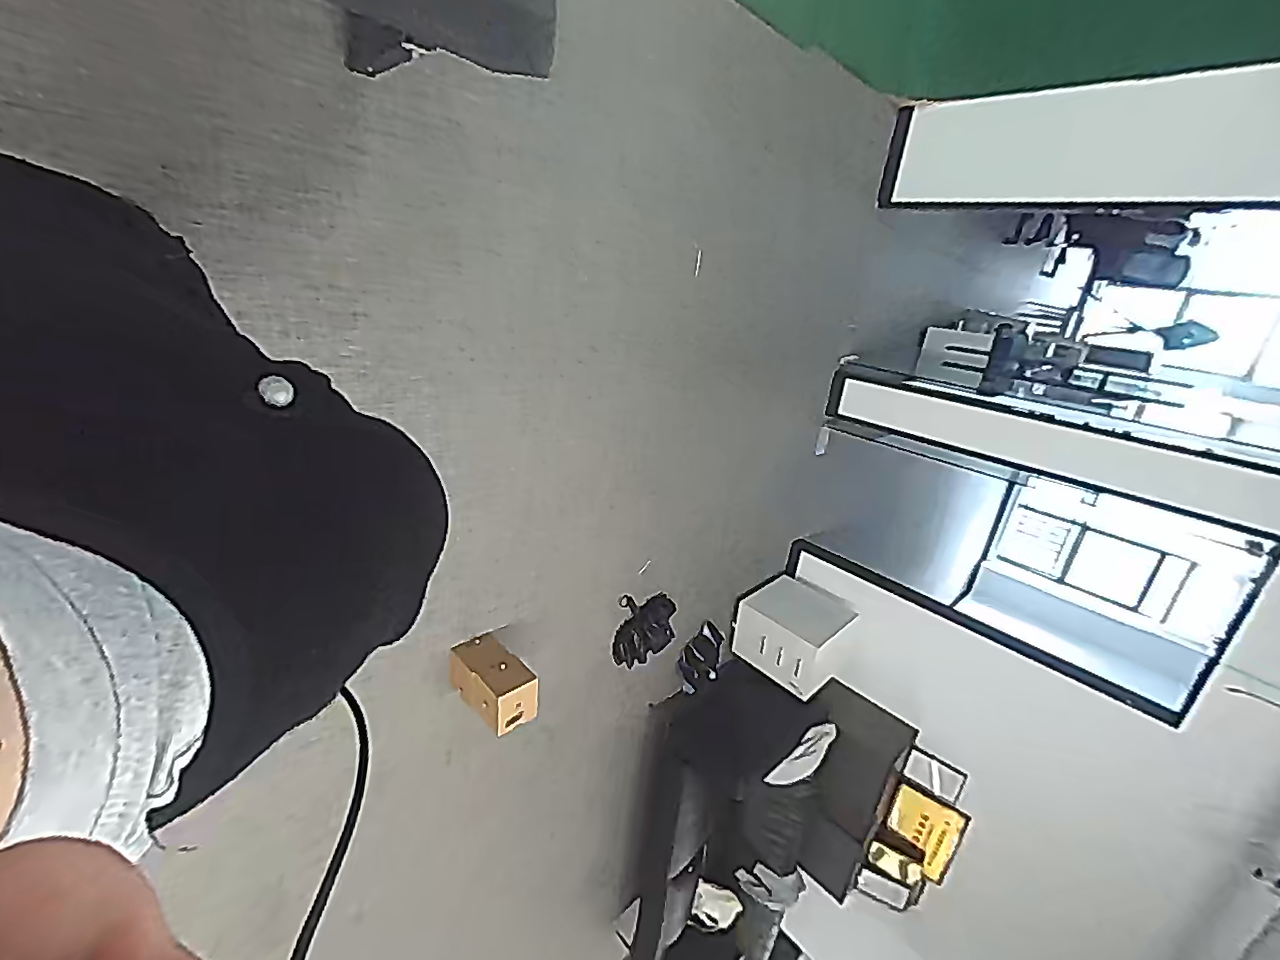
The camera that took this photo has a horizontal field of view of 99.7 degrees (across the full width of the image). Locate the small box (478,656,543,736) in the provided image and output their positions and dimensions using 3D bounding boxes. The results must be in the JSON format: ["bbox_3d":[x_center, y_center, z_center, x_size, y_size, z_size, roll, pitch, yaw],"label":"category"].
[{"bbox_3d":[-0.469,0.771,1.947,0.168,0.176,0.179,-15,119,-43],"label":"small box"}]

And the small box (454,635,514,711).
[{"bbox_3d":[-0.590,0.724,2.048,0.168,0.176,0.179,-17,120,-43],"label":"small box"}]
